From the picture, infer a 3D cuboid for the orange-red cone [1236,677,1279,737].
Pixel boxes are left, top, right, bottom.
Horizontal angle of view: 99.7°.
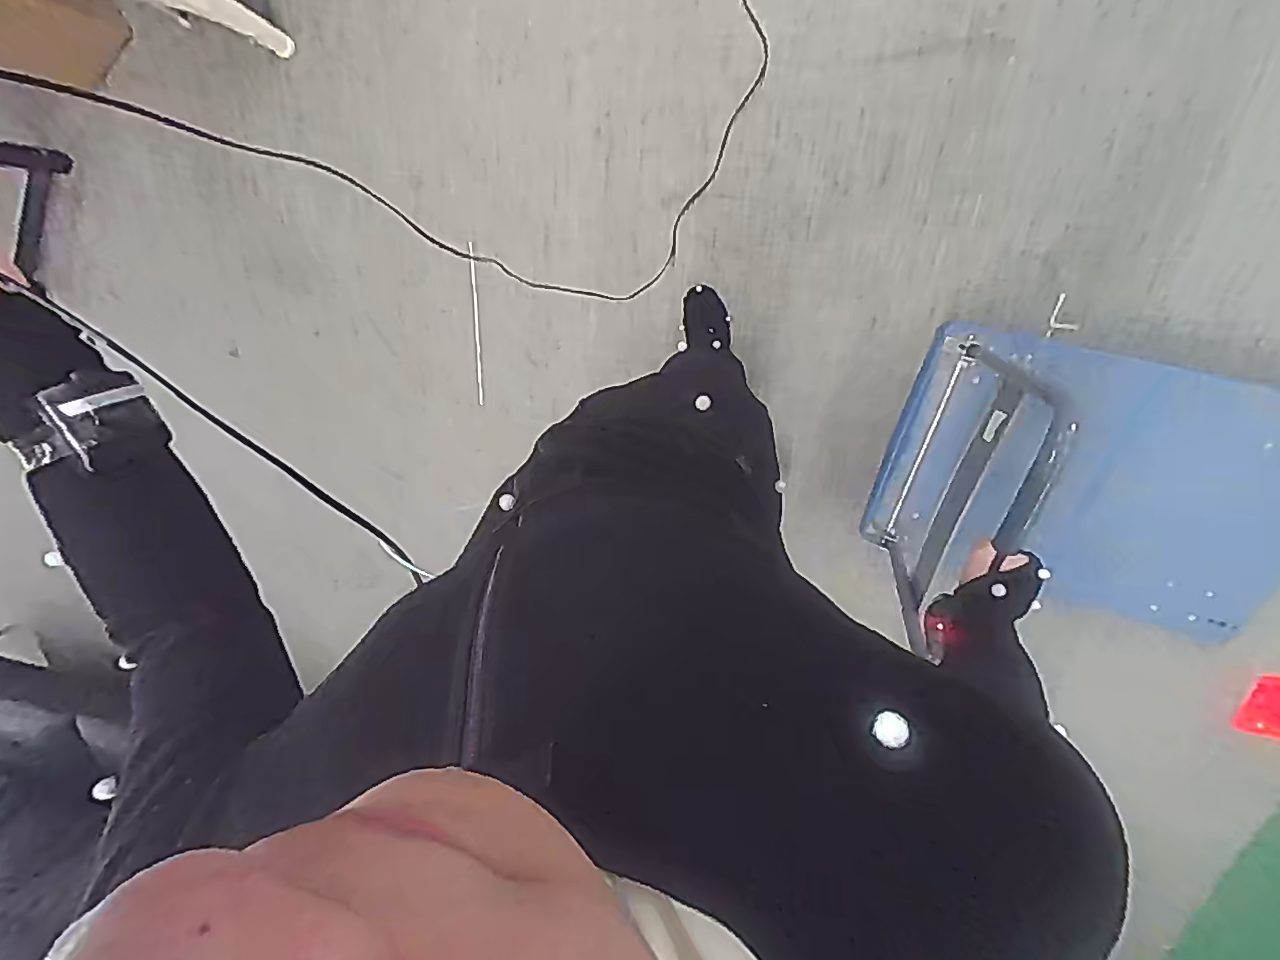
[{"bbox_3d":[1.717,0.680,1.296,0.199,0.360,0.198,8,114,10],"label":"orange-red cone"}]
